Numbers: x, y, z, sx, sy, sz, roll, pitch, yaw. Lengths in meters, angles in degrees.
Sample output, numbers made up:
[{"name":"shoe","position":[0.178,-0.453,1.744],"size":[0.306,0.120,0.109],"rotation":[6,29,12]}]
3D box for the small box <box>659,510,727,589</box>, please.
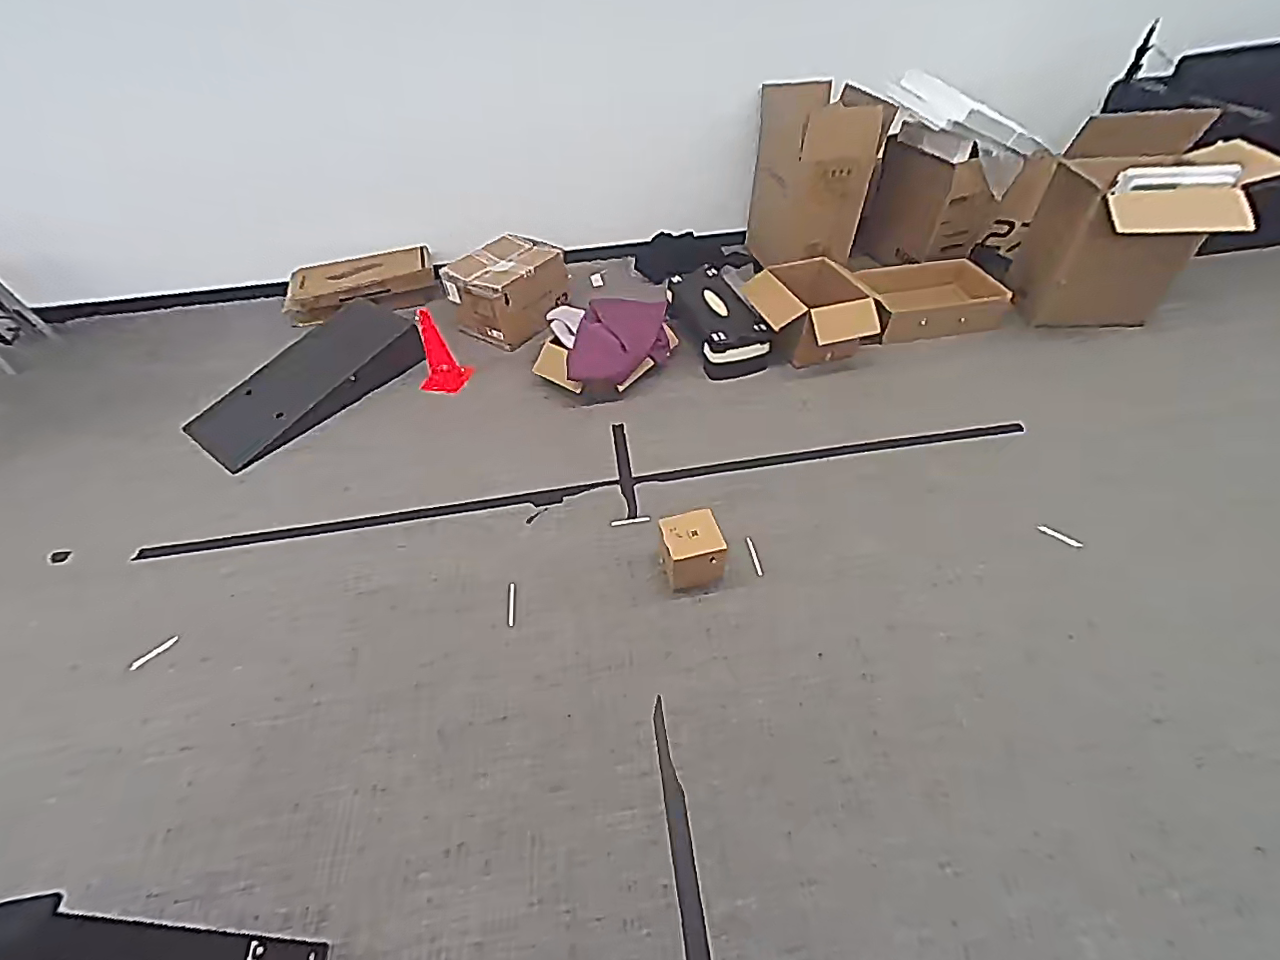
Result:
[{"name":"small box","position":[0.163,0.224,1.723],"size":[0.179,0.176,0.168],"rotation":[-12,47,-8]}]
